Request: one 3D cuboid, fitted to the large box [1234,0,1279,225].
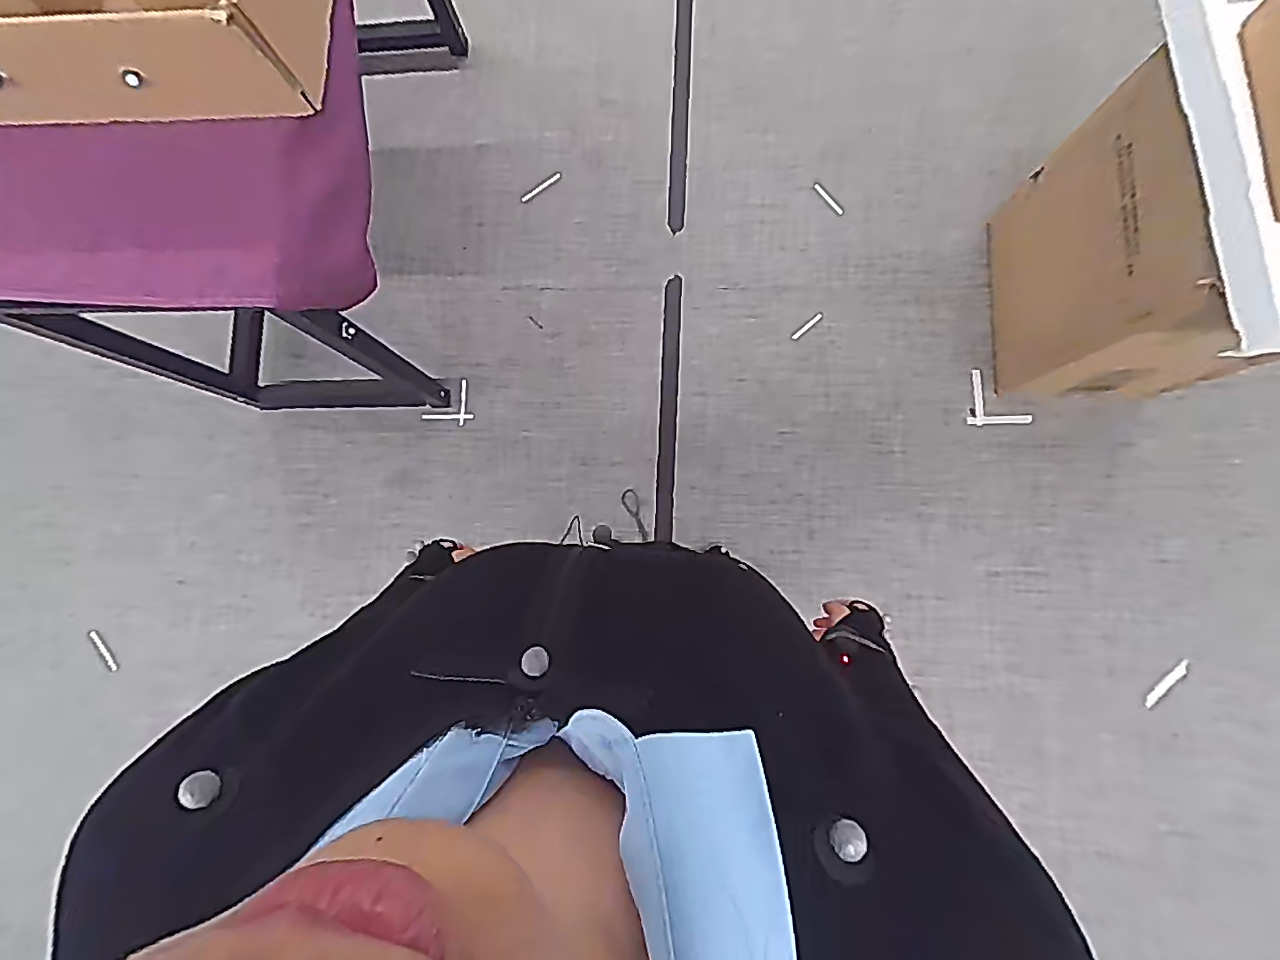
[{"bbox_3d":[1.143,-0.588,0.724,0.320,0.320,0.408,-3,82,2],"label":"large box"}]
